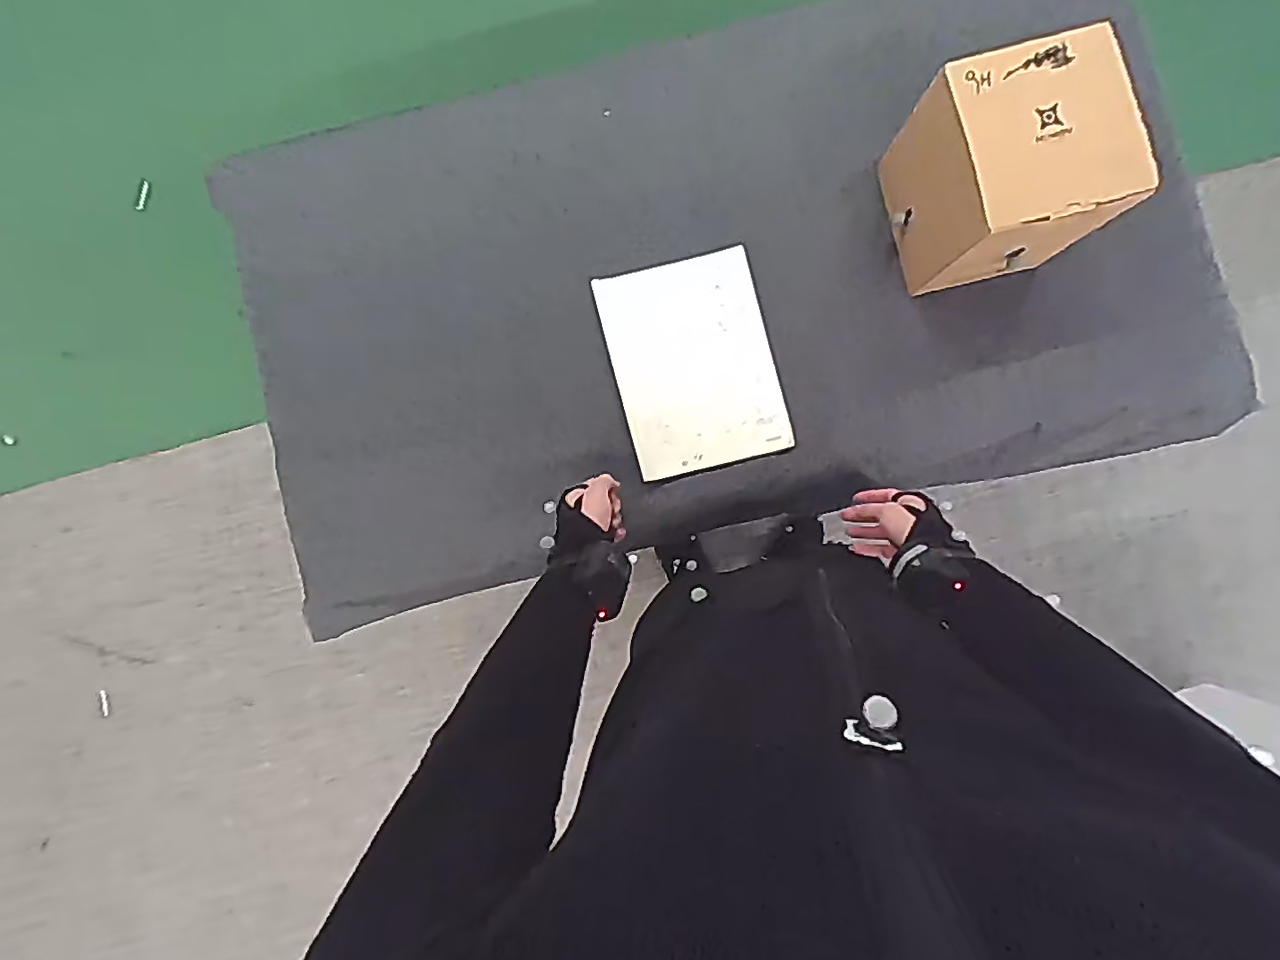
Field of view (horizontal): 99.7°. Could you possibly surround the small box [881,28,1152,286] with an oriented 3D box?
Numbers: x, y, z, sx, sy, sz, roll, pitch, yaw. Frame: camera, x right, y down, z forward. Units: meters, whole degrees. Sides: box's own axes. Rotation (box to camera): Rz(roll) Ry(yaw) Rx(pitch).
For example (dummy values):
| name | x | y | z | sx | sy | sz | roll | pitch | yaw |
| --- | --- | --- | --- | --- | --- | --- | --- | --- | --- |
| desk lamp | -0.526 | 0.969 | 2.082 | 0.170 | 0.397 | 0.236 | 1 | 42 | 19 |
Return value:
| name | x | y | z | sx | sy | sz | roll | pitch | yaw |
| --- | --- | --- | --- | --- | --- | --- | --- | --- | --- |
| small box | 0.397 | -0.334 | 0.602 | 0.168 | 0.176 | 0.179 | -14 | 89 | 1 |
